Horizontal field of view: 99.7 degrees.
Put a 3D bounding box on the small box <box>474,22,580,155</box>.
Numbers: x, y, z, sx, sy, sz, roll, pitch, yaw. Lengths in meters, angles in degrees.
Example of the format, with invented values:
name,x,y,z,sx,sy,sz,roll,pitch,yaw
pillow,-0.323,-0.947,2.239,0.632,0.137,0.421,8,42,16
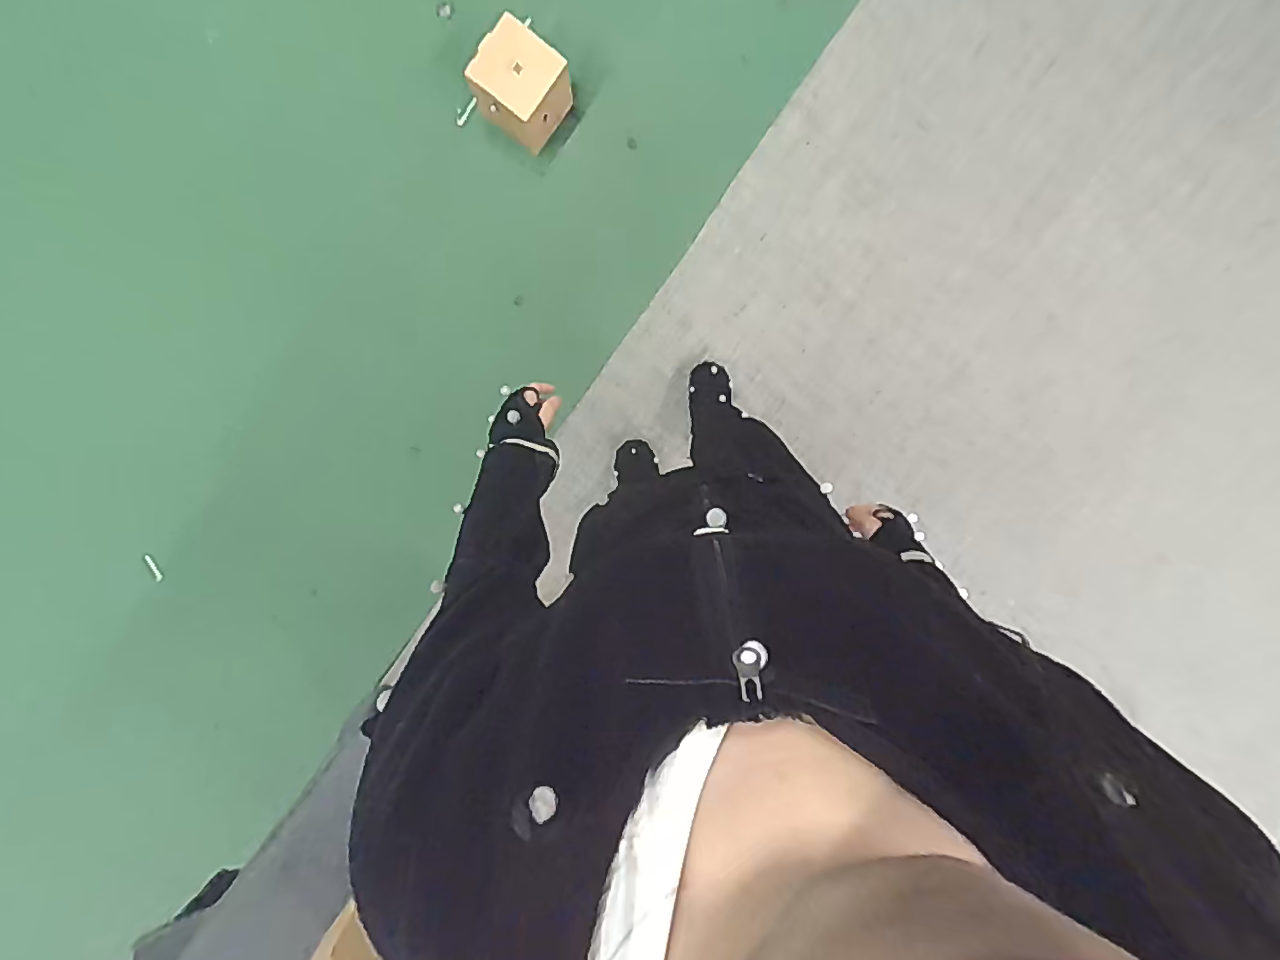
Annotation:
name,x,y,z,sx,sy,sz,roll,pitch,yaw
small box,-0.264,-0.935,1.318,0.179,0.176,0.168,37,95,-3
